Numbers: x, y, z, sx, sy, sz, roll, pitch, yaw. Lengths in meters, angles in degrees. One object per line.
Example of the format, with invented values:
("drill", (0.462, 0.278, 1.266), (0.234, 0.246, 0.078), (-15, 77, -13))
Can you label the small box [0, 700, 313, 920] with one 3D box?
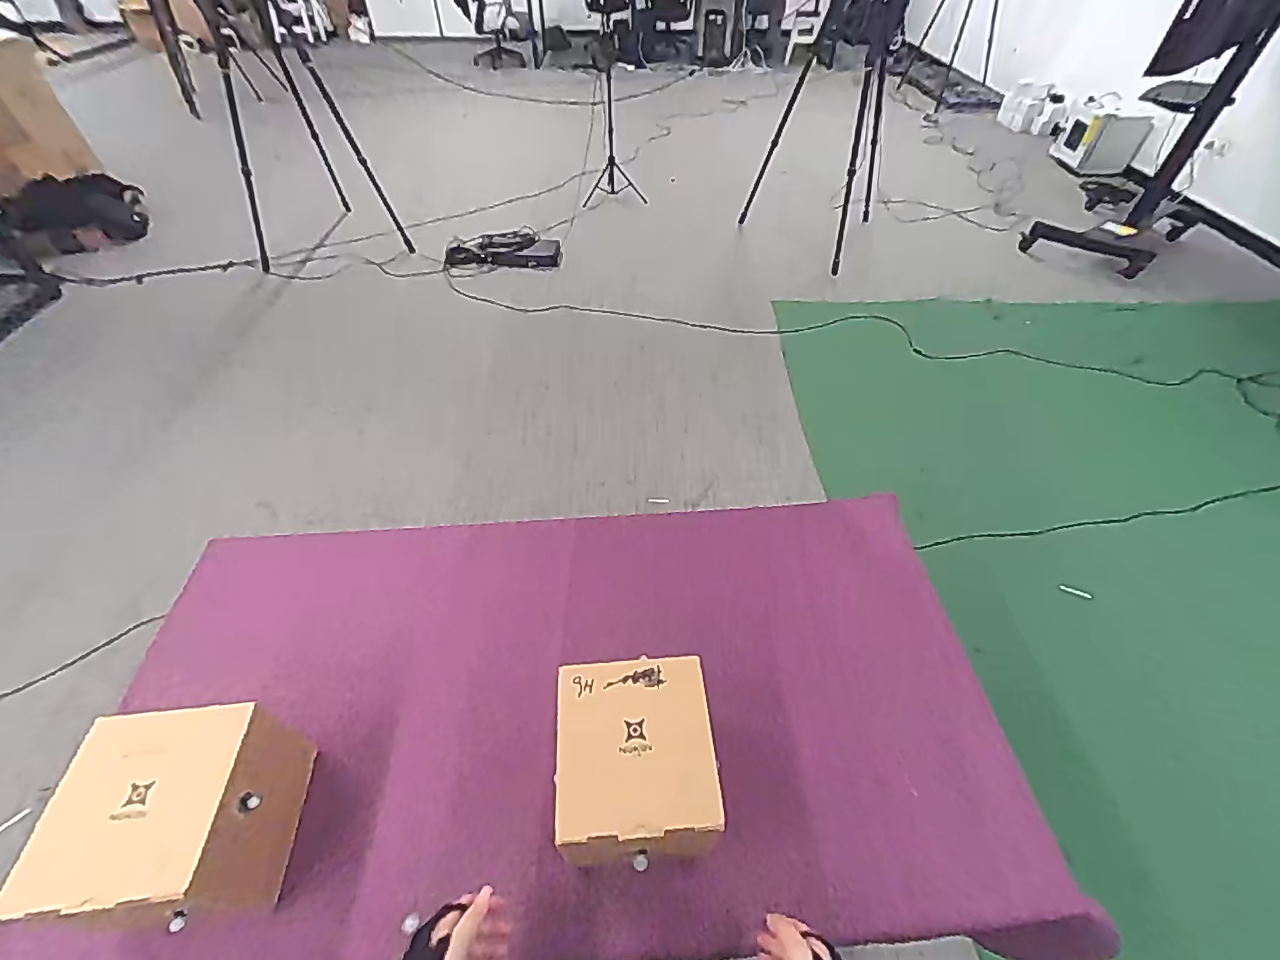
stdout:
("small box", (-0.496, 0.364, 0.594), (0.168, 0.176, 0.179), (-3, 47, -5))

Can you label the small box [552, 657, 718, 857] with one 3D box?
("small box", (-0.009, 0.329, 0.634), (0.168, 0.176, 0.179), (-3, 49, -3))
